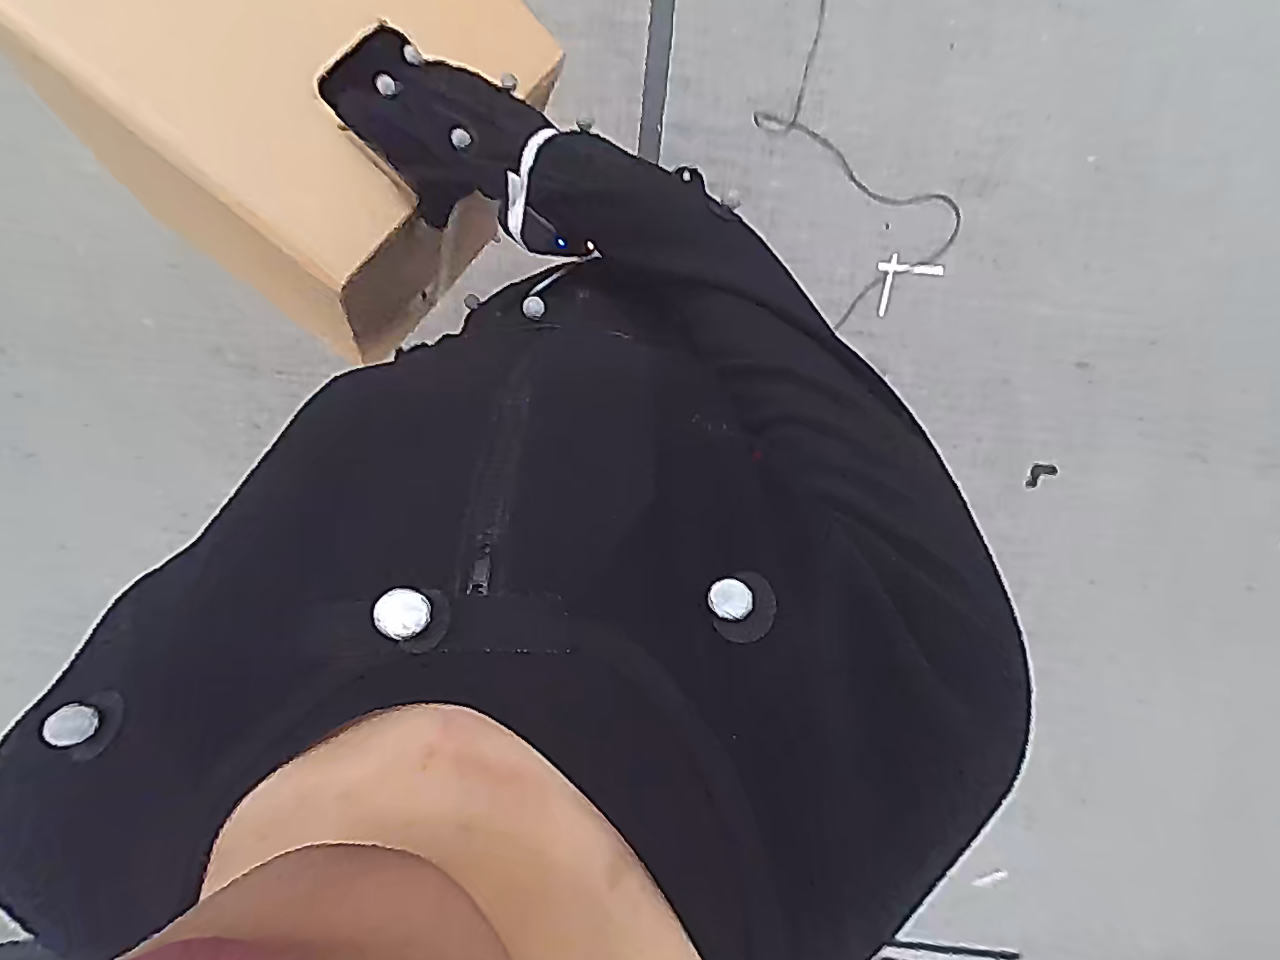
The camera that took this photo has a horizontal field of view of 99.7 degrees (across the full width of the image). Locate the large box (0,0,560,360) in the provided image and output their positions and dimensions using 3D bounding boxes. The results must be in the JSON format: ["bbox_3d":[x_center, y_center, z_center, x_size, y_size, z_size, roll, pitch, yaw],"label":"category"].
[{"bbox_3d":[-0.344,-0.381,0.612,0.320,0.408,0.320,41,76,-19],"label":"large box"}]
